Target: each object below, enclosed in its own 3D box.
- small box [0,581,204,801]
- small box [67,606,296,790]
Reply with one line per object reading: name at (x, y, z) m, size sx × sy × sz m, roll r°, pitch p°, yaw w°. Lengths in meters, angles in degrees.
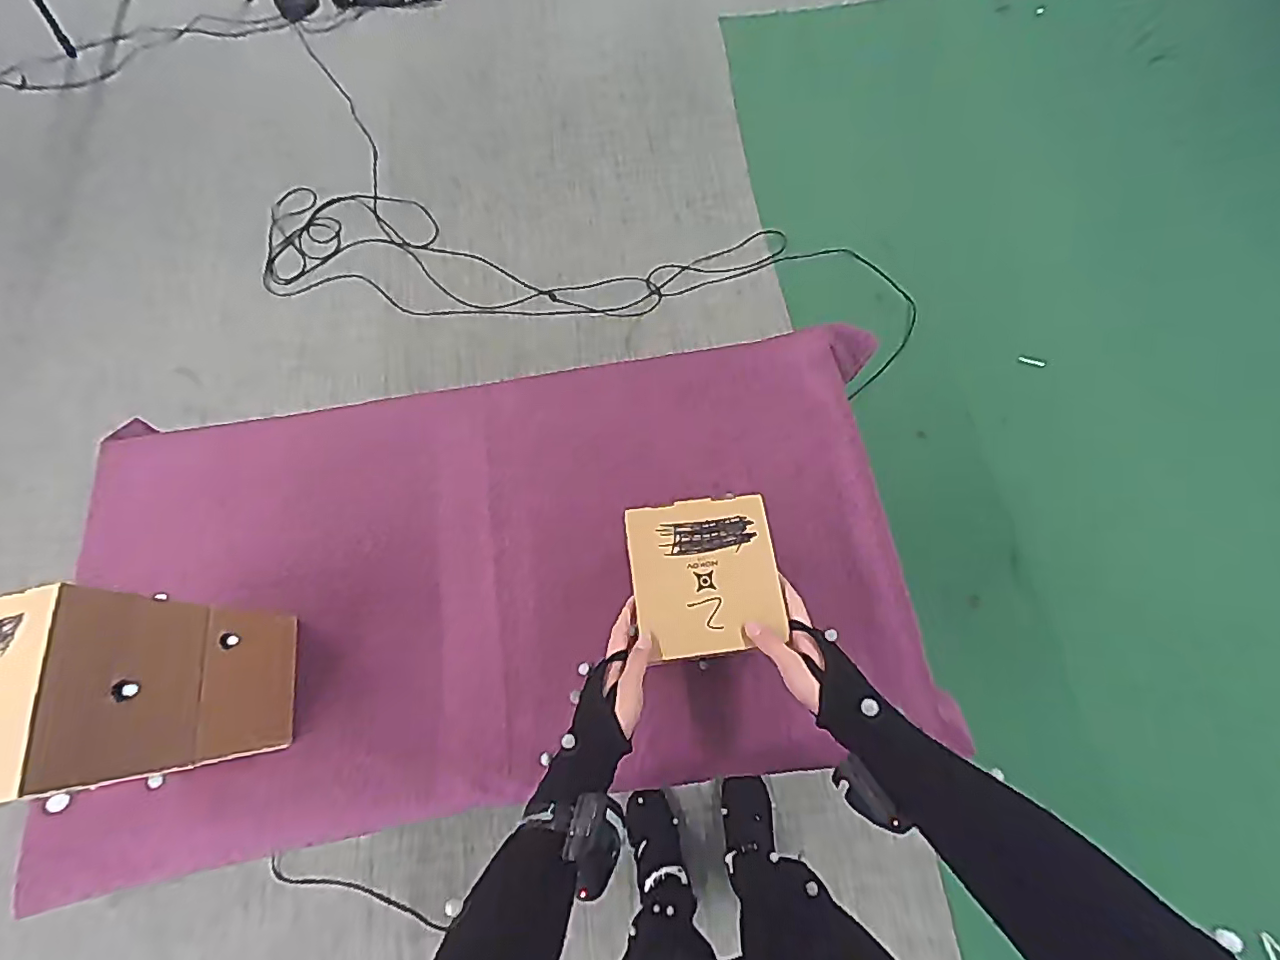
small box at (-0.577, 0.210, 0.530) m, size 0.168 × 0.176 × 0.179 m, roll -10°, pitch 71°, yaw 0°
small box at (-0.569, 0.267, 0.684) m, size 0.168 × 0.176 × 0.179 m, roll -10°, pitch 70°, yaw -1°
